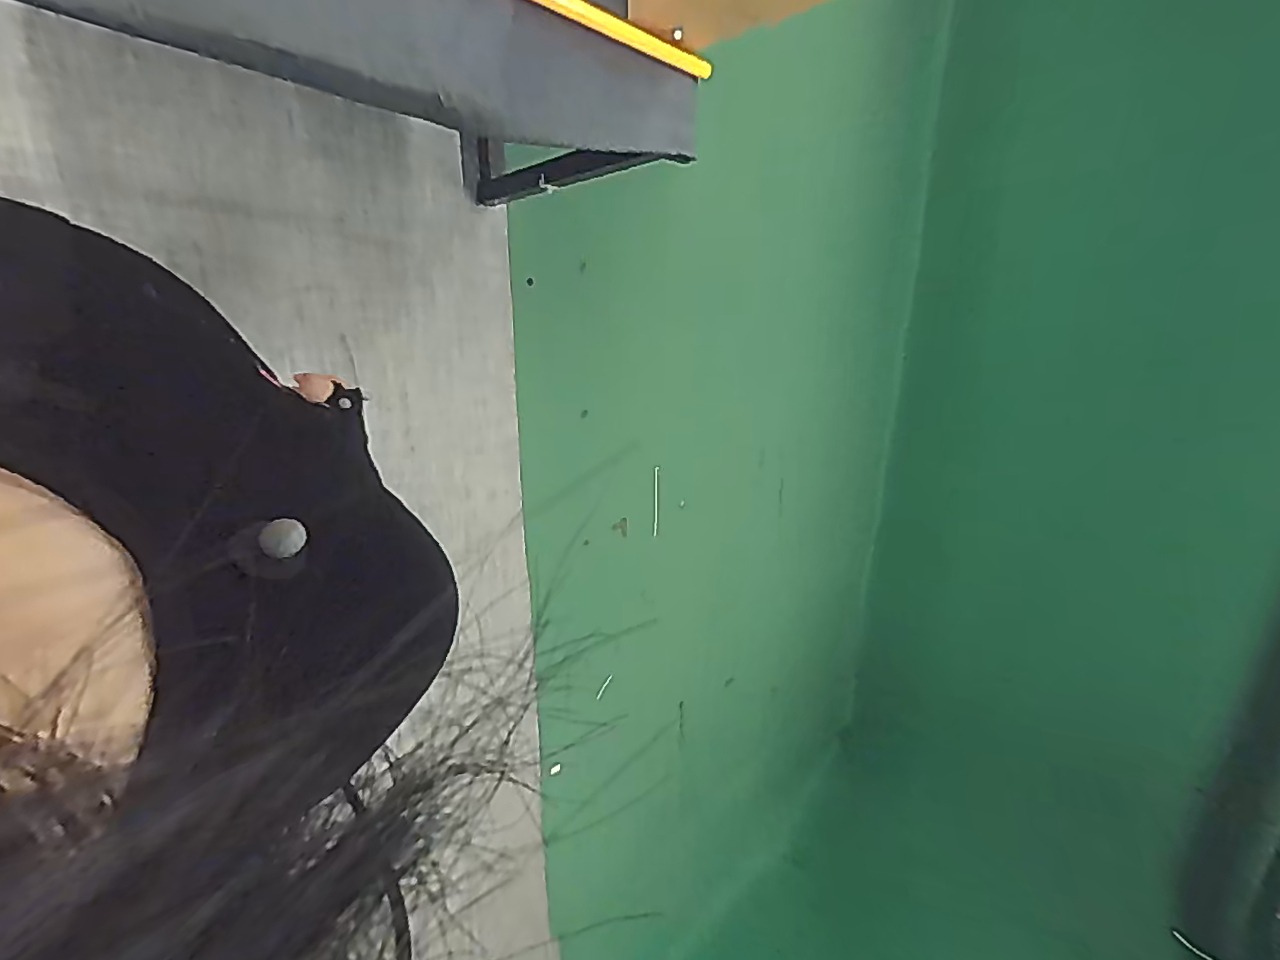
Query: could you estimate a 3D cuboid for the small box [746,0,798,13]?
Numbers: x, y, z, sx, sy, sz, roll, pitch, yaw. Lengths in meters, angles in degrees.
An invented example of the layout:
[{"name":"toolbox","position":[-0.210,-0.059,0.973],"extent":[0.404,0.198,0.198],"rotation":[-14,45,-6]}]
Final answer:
[{"name":"small box","position":[0.209,-0.810,0.759],"extent":[0.179,0.176,0.168],"rotation":[-10,110,-44]}]
